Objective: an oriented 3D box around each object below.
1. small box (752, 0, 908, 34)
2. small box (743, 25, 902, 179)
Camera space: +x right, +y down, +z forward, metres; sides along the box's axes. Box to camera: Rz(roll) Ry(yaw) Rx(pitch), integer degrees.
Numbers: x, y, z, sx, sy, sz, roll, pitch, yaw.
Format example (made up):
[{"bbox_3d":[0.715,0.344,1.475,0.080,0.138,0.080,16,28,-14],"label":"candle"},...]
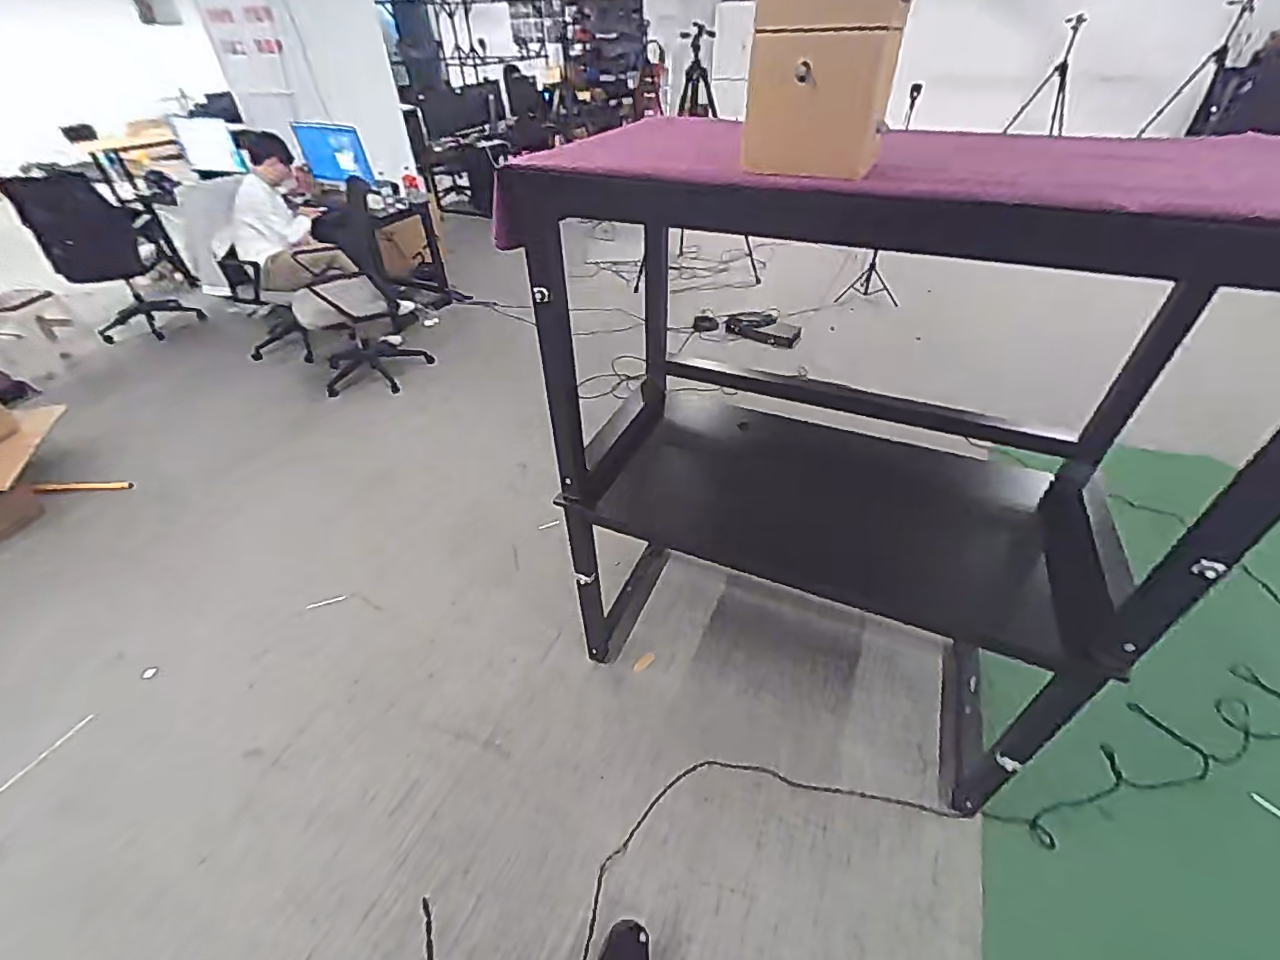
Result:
[{"bbox_3d":[0.254,-0.676,0.685,0.179,0.176,0.168,16,42,23],"label":"small box"},{"bbox_3d":[0.259,-0.549,0.790,0.179,0.176,0.168,17,44,22],"label":"small box"}]
